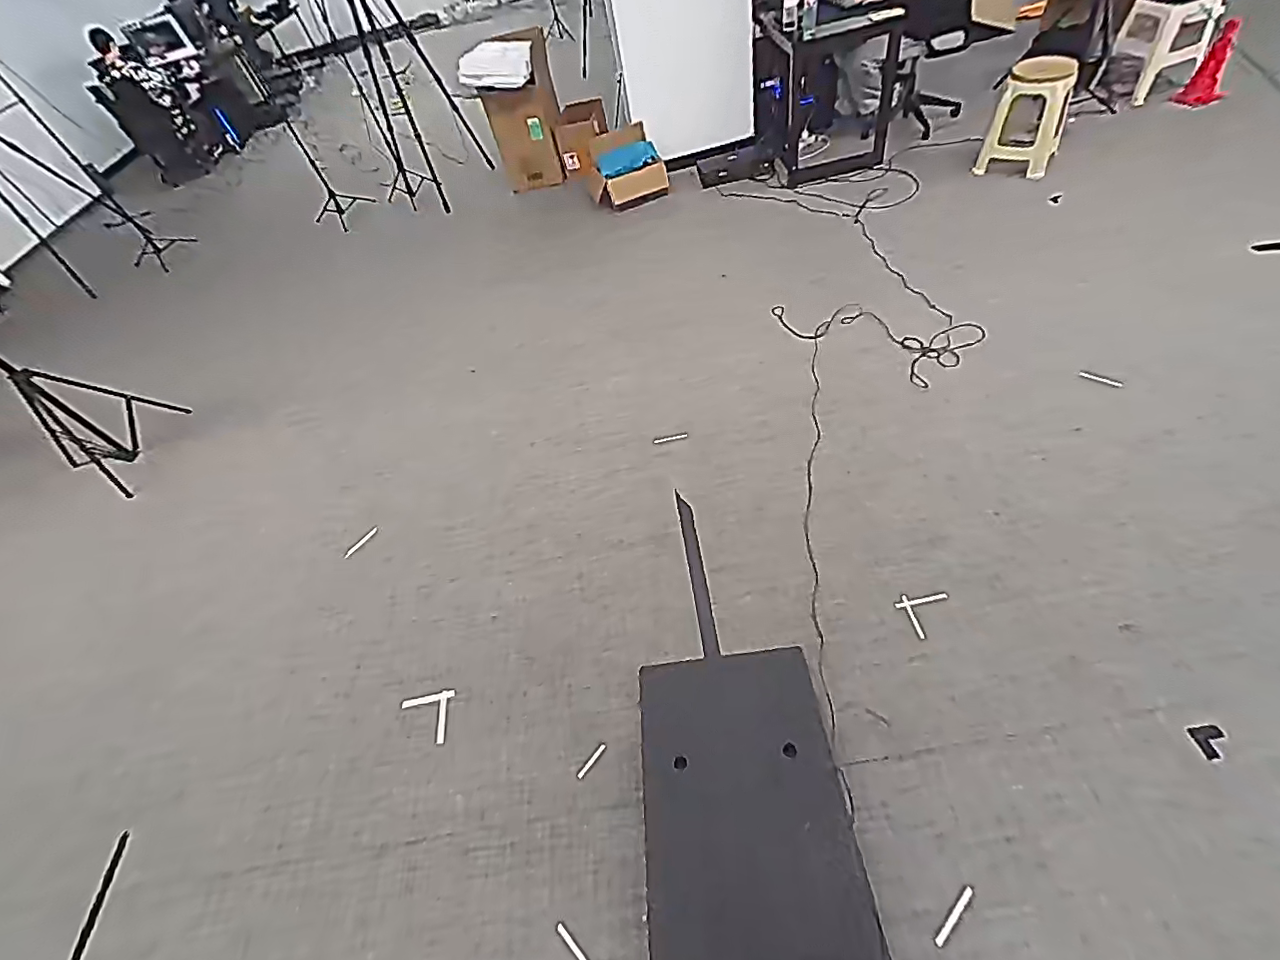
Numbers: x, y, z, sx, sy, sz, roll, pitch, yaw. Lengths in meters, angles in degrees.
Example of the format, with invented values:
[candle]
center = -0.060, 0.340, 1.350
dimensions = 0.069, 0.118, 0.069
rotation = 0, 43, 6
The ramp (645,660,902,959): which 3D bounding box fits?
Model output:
[ramp]
center = 0.273, 0.891, 1.235
dimensions = 0.509, 0.206, 0.991
rotation = -13, 48, 5
